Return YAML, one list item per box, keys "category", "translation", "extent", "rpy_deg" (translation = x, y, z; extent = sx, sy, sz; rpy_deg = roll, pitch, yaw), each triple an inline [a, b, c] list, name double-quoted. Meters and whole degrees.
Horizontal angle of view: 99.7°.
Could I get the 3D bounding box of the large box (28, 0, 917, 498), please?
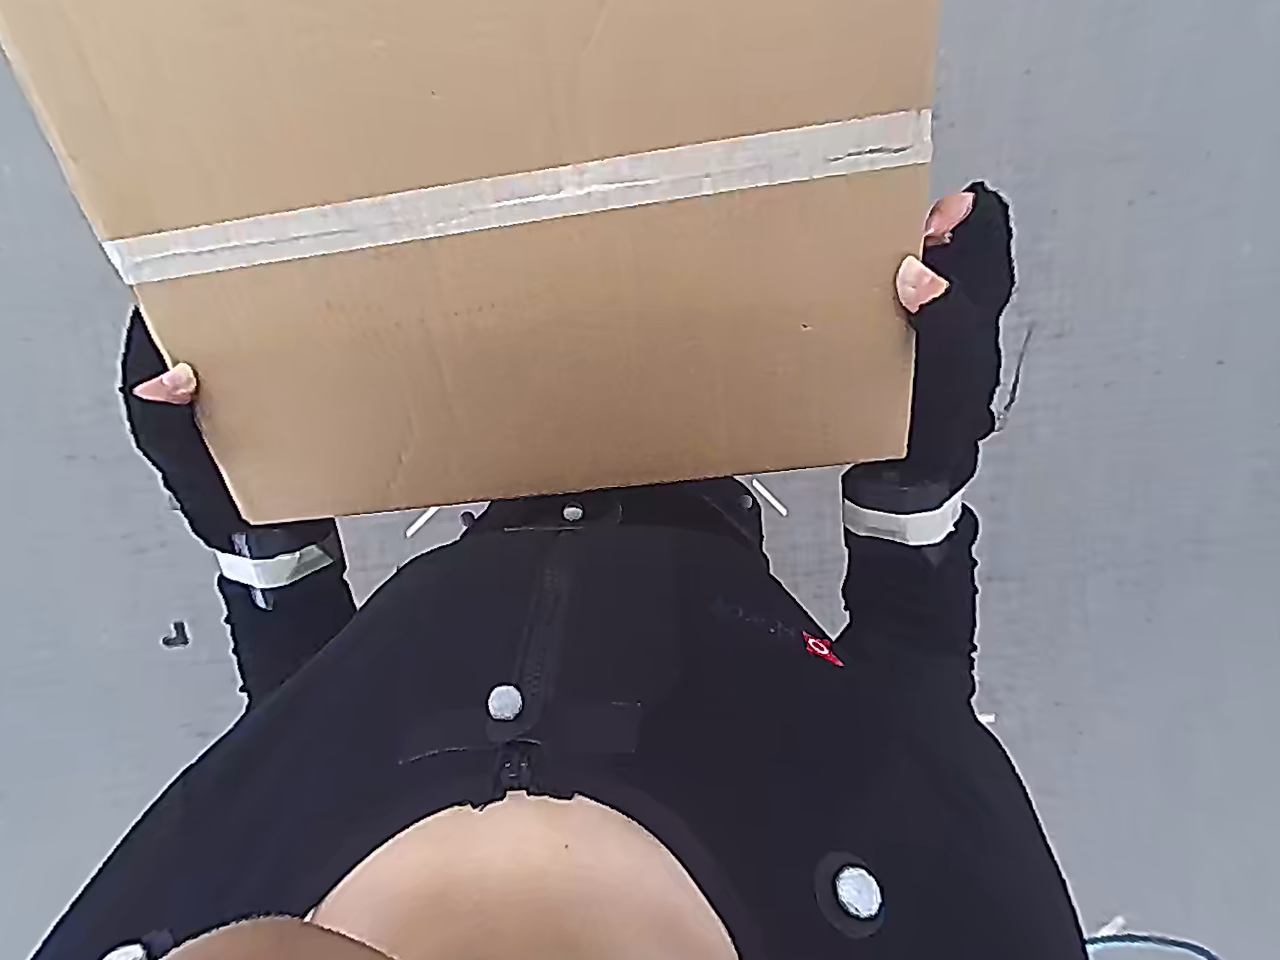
- category: "large box"
  translation: [-0.066, -0.209, 0.406]
  extent: [0.408, 0.320, 0.320]
  rpy_deg: [-6, 115, 5]
